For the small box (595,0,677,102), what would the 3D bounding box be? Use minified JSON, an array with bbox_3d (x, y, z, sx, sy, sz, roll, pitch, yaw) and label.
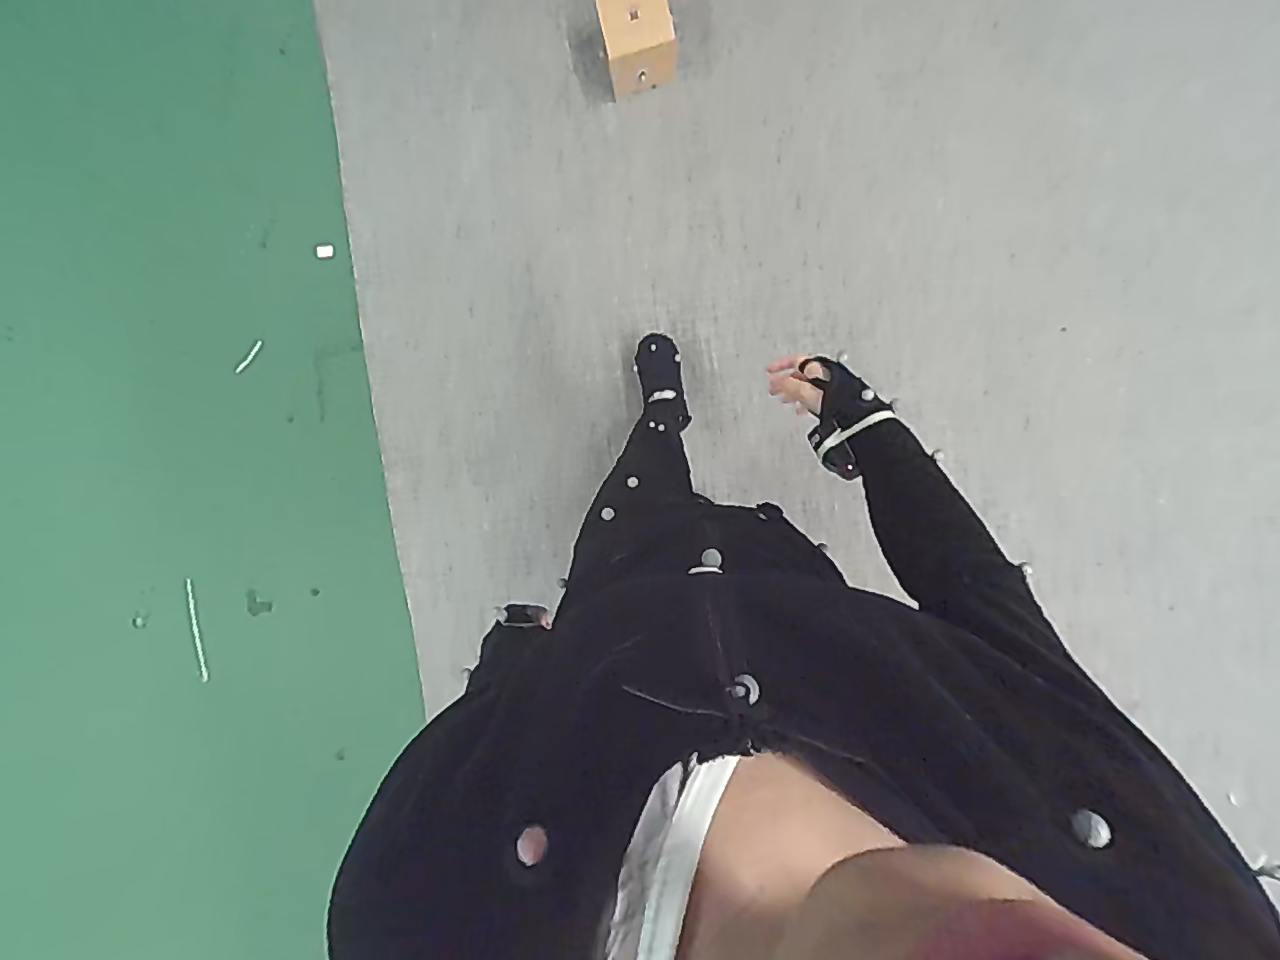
[{"bbox_3d":[-0.004,-1.092,1.357,0.168,0.176,0.179,-14,92,4],"label":"small box"}]
